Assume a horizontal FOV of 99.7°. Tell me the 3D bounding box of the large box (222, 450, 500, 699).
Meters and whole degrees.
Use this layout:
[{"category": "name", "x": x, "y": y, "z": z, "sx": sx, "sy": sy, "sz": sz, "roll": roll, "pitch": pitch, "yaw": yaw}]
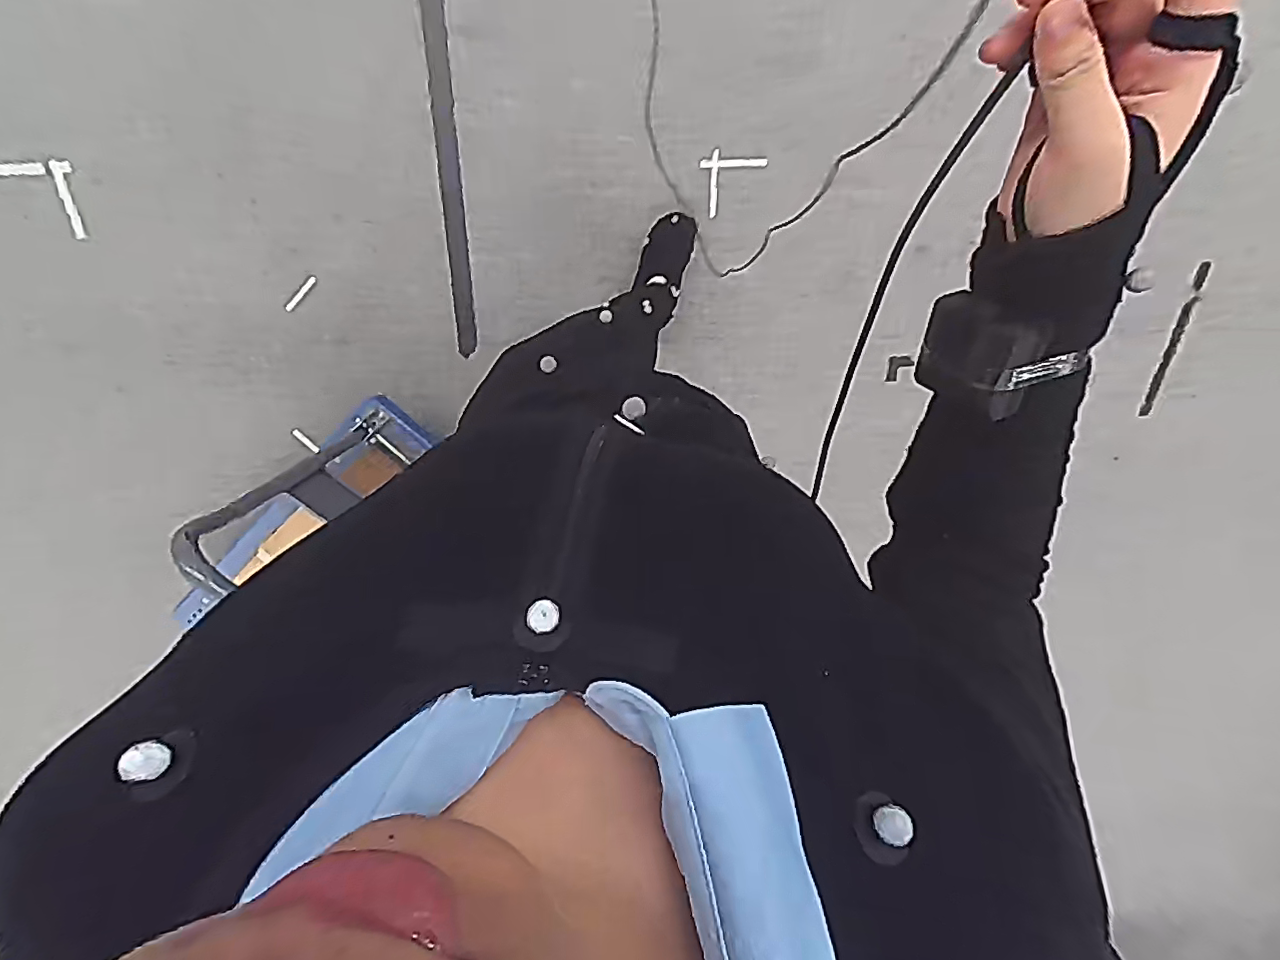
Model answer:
[{"category": "large box", "x": -0.599, "y": 0.205, "z": 1.242, "sx": 0.320, "sy": 0.320, "sz": 0.408, "roll": -42, "pitch": 107, "yaw": 13}]
